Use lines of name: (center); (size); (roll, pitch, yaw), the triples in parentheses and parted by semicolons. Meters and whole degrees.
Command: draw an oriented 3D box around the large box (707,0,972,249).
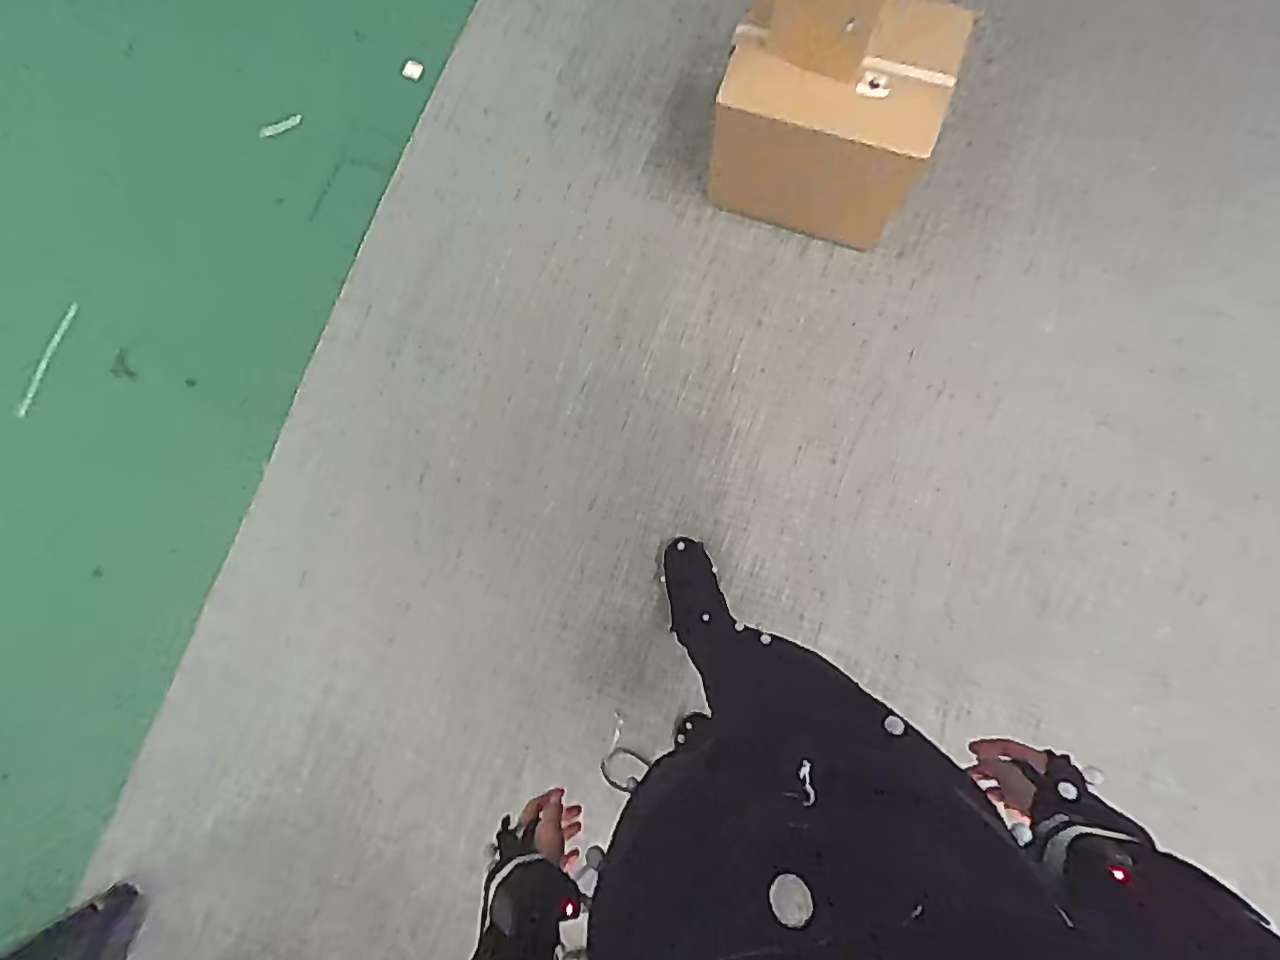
large box: (0.385, -0.757, 1.148); (0.408, 0.320, 0.320); (19, 86, 4)
